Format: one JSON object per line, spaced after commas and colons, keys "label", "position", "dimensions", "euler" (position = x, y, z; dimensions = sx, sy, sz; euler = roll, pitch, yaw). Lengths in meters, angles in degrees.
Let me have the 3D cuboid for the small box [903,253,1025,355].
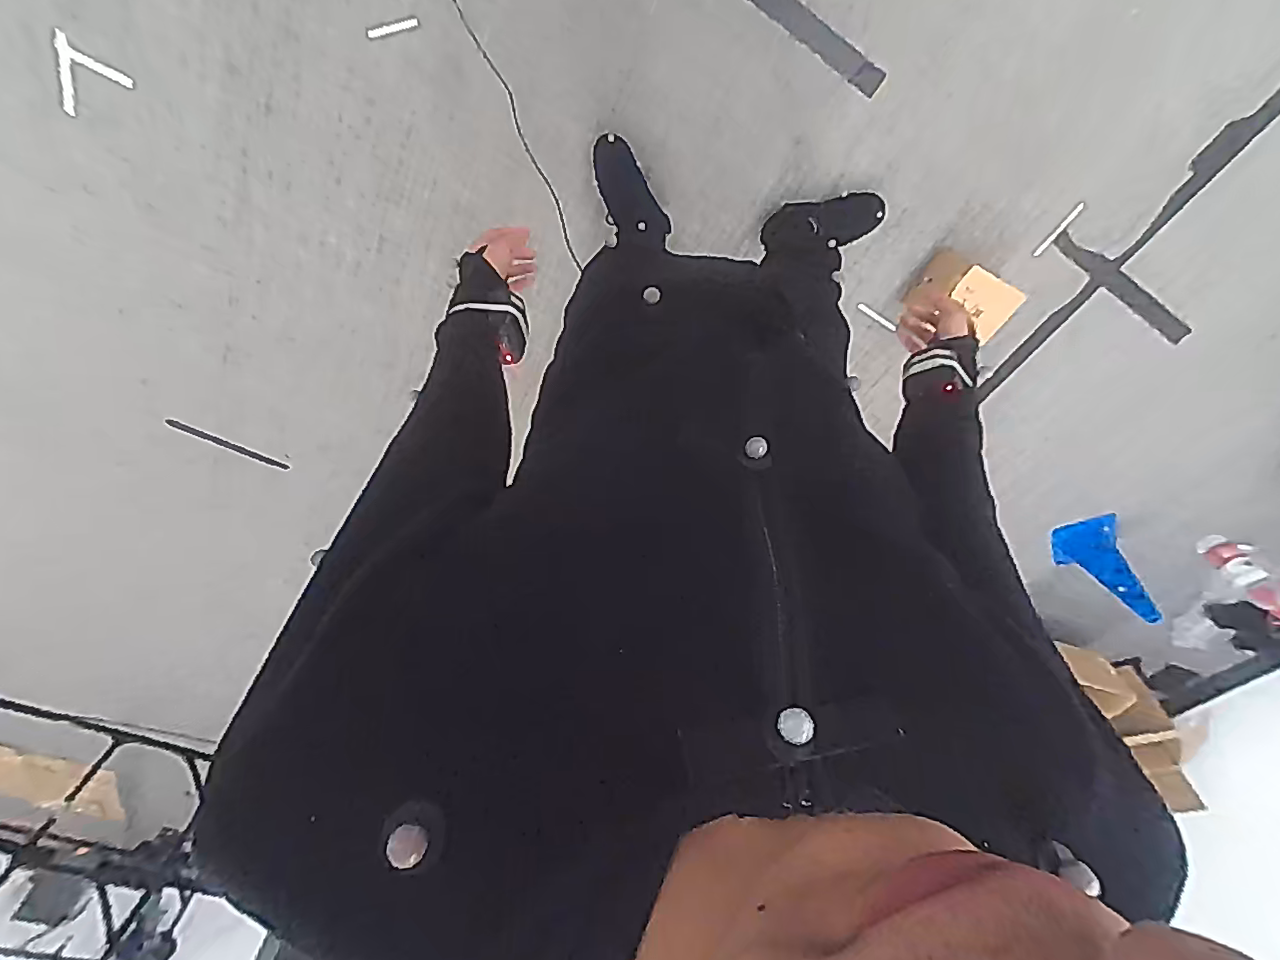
{"label": "small box", "position": [0.817, -0.454, 1.381], "dimensions": [0.179, 0.176, 0.168], "euler": [23, 124, -12]}
